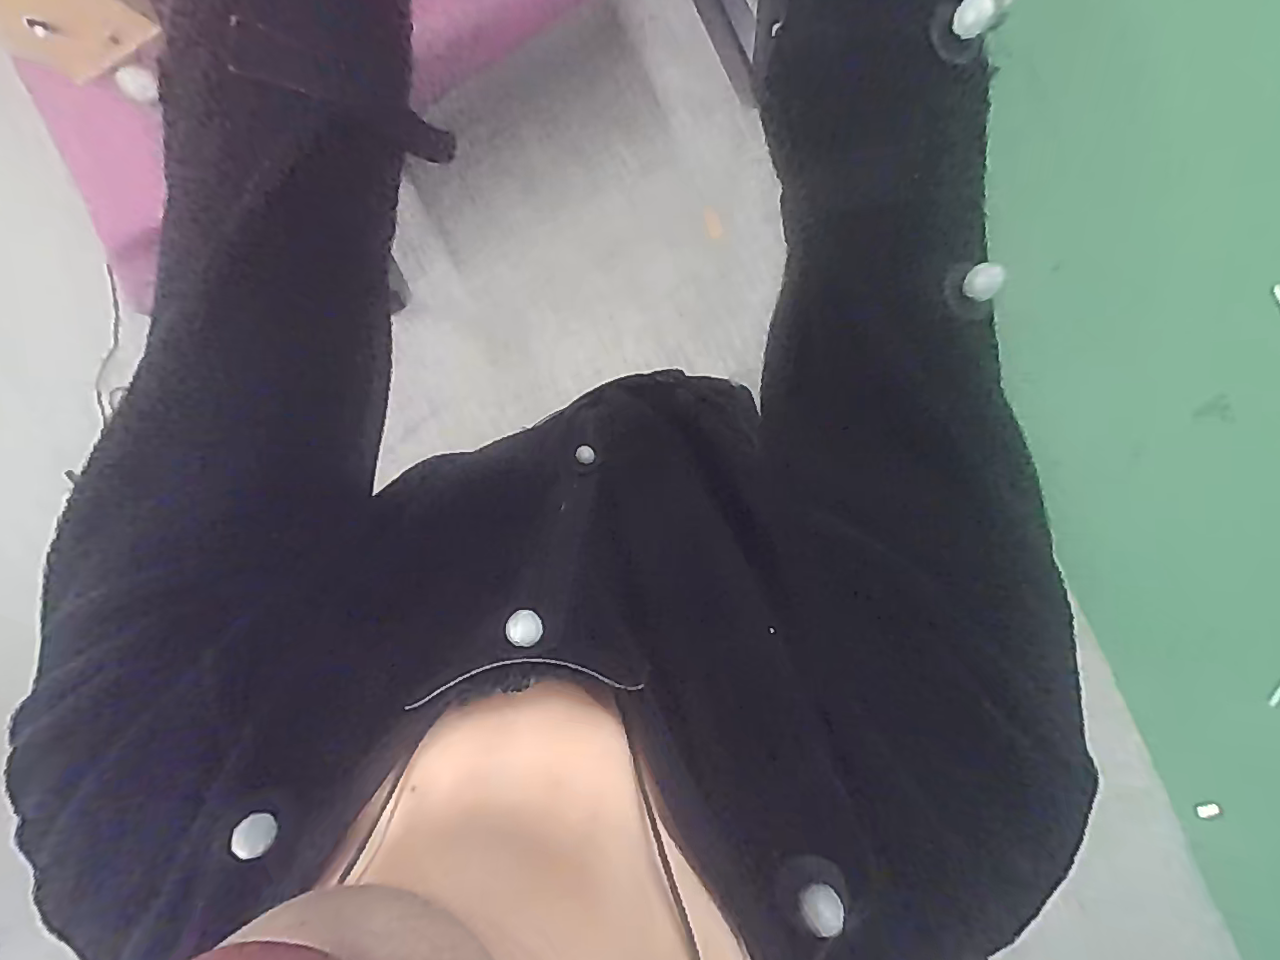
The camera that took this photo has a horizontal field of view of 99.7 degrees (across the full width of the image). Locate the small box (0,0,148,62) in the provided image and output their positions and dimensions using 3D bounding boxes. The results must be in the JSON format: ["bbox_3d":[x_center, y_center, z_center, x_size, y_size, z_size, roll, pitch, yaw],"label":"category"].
[{"bbox_3d":[-0.818,-0.704,0.713,0.168,0.176,0.179,-22,94,11],"label":"small box"}]
